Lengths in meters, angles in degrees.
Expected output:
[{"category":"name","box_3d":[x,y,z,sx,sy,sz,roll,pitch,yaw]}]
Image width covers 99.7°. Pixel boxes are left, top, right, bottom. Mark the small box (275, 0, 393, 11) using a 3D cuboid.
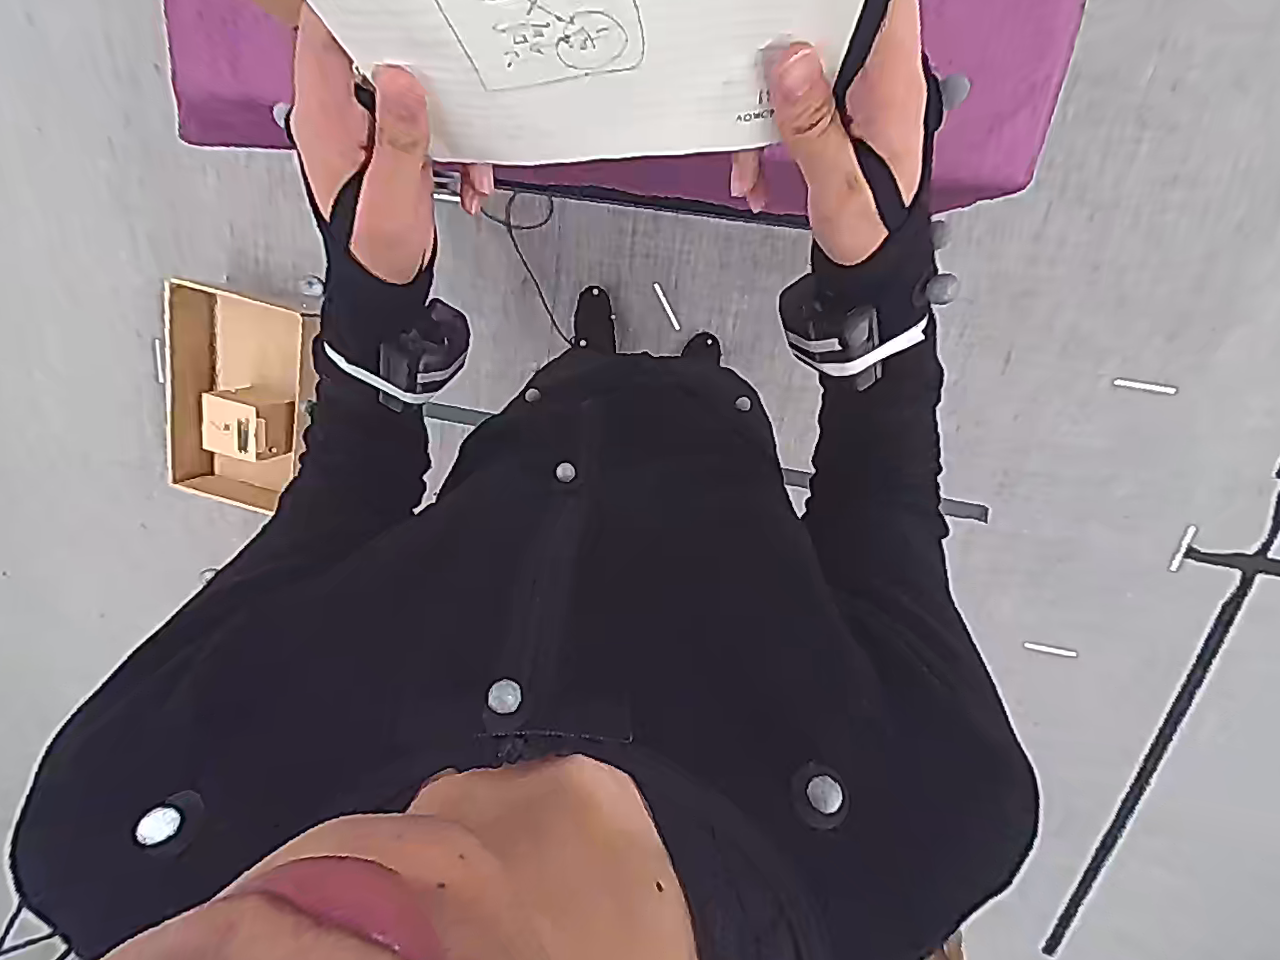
[{"category":"small box","box_3d":[-0.417,-0.698,0.642,0.168,0.176,0.179,2,106,6]}]
